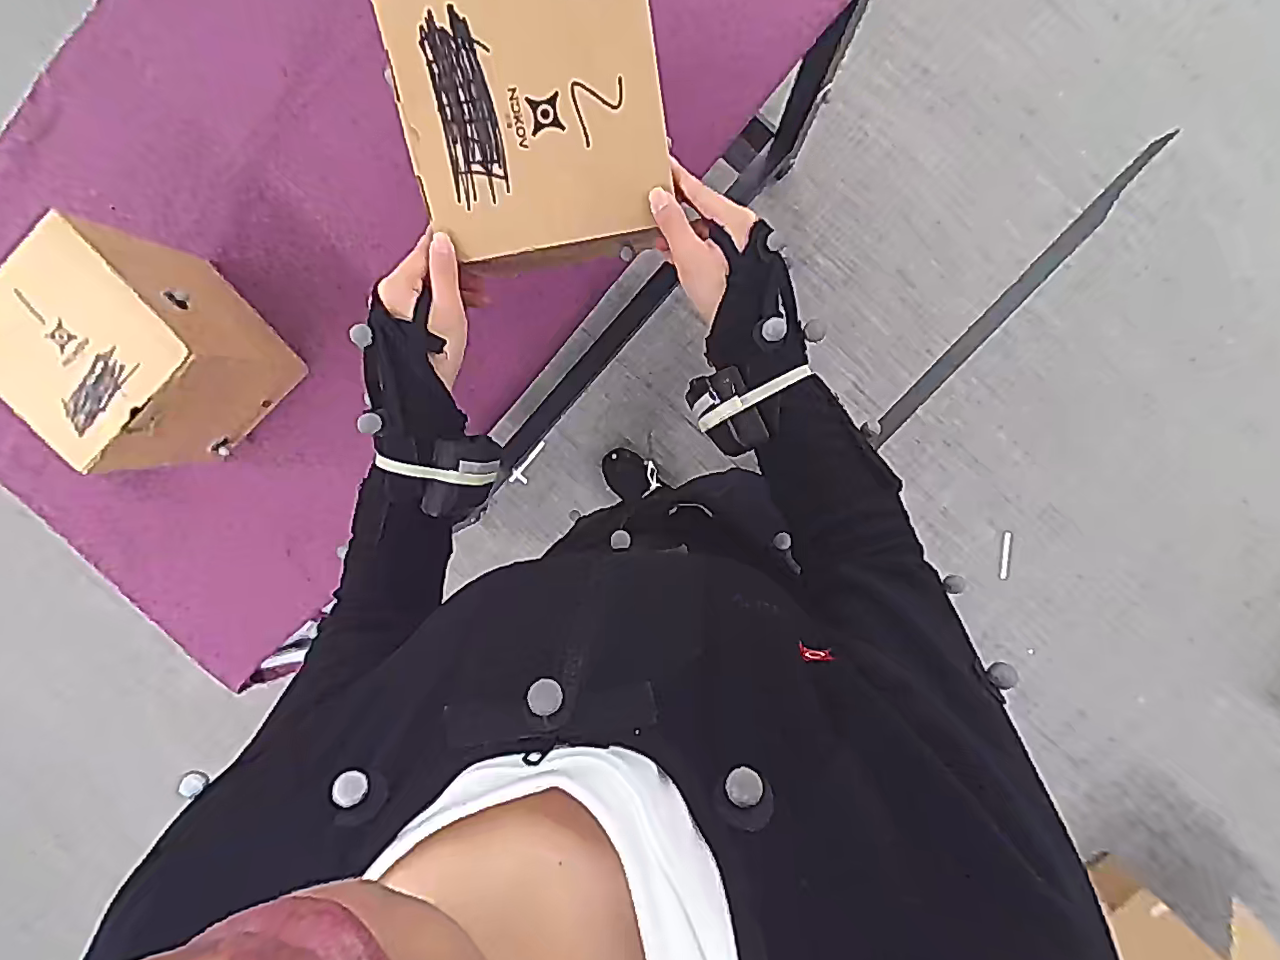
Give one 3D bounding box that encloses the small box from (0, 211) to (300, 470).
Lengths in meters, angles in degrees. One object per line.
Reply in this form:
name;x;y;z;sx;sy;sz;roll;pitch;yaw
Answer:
small box;-0.515;-0.134;0.570;0.168;0.176;0.179;-42;93;5
